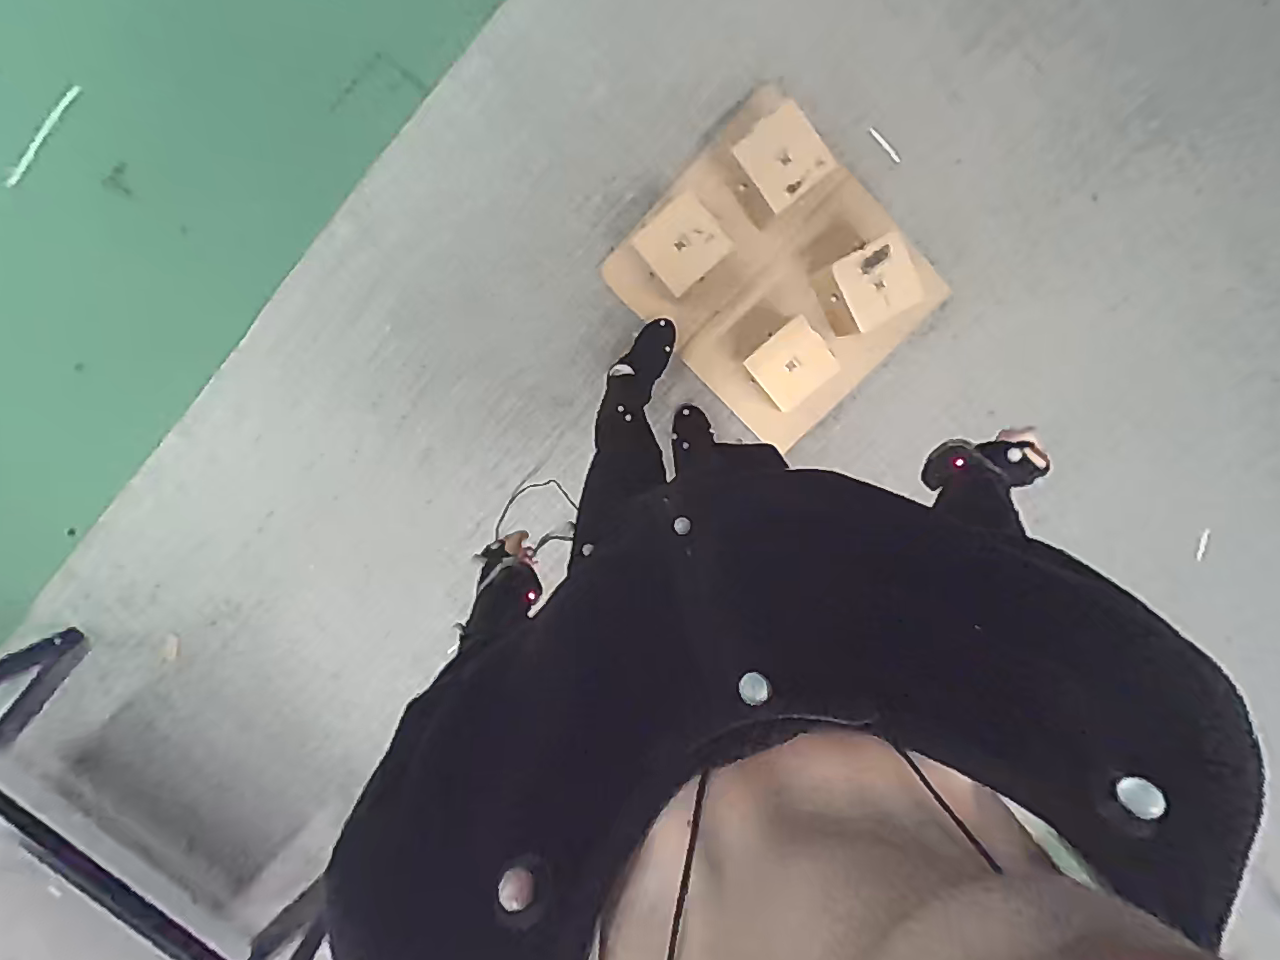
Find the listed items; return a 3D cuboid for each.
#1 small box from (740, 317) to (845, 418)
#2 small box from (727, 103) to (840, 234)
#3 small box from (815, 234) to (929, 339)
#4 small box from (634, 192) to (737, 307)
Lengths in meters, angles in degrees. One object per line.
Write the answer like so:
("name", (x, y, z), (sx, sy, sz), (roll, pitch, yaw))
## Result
("small box", (0.364, -0.275, 1.338), (0.179, 0.176, 0.168), (-41, 98, 8))
("small box", (0.321, -0.707, 1.254), (0.168, 0.176, 0.179), (-38, 98, 8))
("small box", (0.546, -0.453, 1.297), (0.168, 0.176, 0.179), (-29, 101, 6))
("small box", (0.105, -0.537, 1.291), (0.179, 0.176, 0.168), (-40, 99, 8))
